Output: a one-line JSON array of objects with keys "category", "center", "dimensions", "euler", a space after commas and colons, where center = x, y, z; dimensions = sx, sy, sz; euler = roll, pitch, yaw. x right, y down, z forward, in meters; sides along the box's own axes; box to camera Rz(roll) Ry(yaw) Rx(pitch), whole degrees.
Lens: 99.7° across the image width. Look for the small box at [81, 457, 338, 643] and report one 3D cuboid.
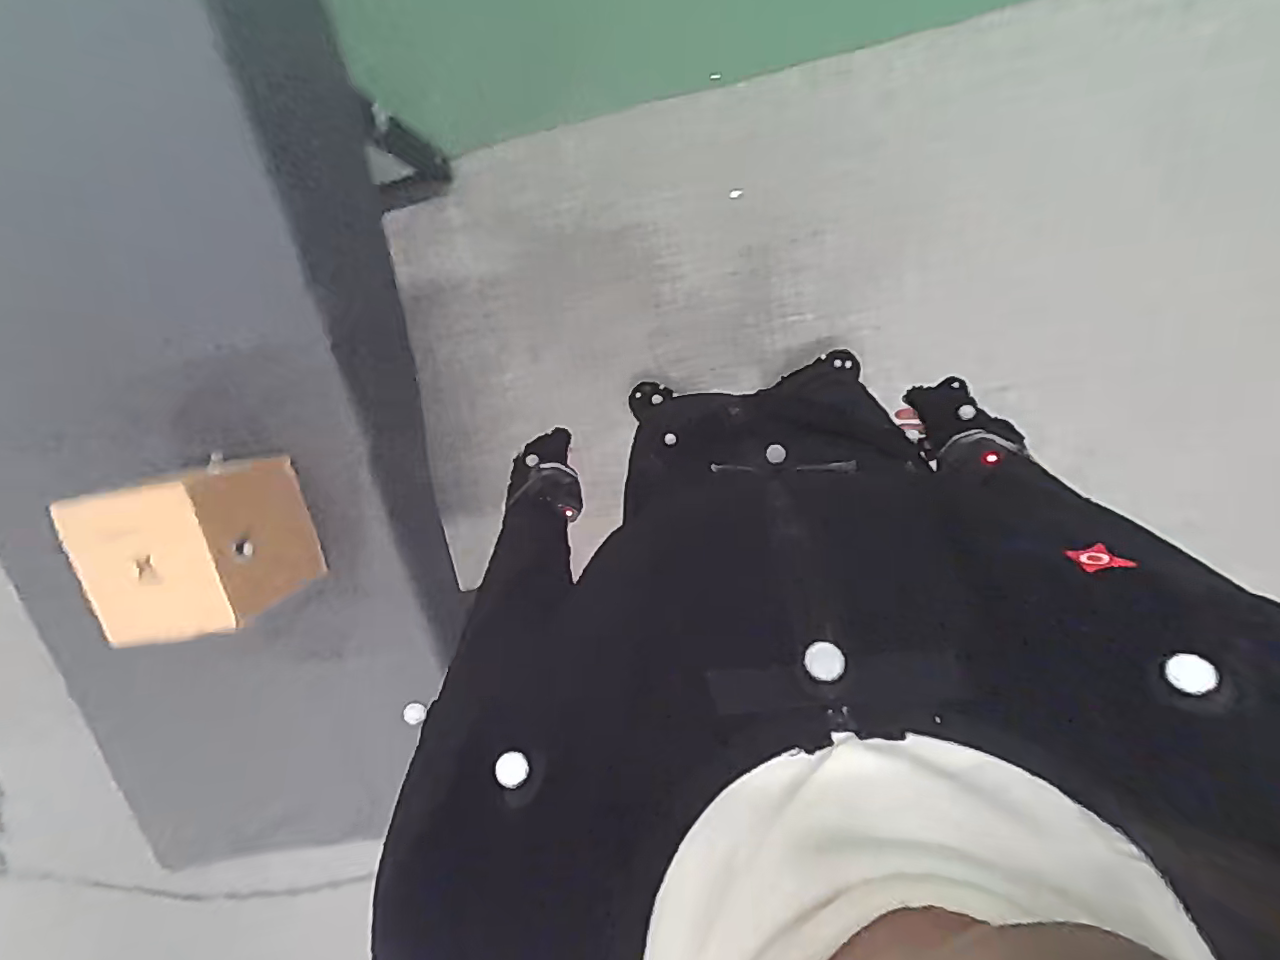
[{"category": "small box", "center": [-0.531, 0.082, 0.697], "dimensions": [0.168, 0.176, 0.179], "euler": [-10, 102, 7]}]
